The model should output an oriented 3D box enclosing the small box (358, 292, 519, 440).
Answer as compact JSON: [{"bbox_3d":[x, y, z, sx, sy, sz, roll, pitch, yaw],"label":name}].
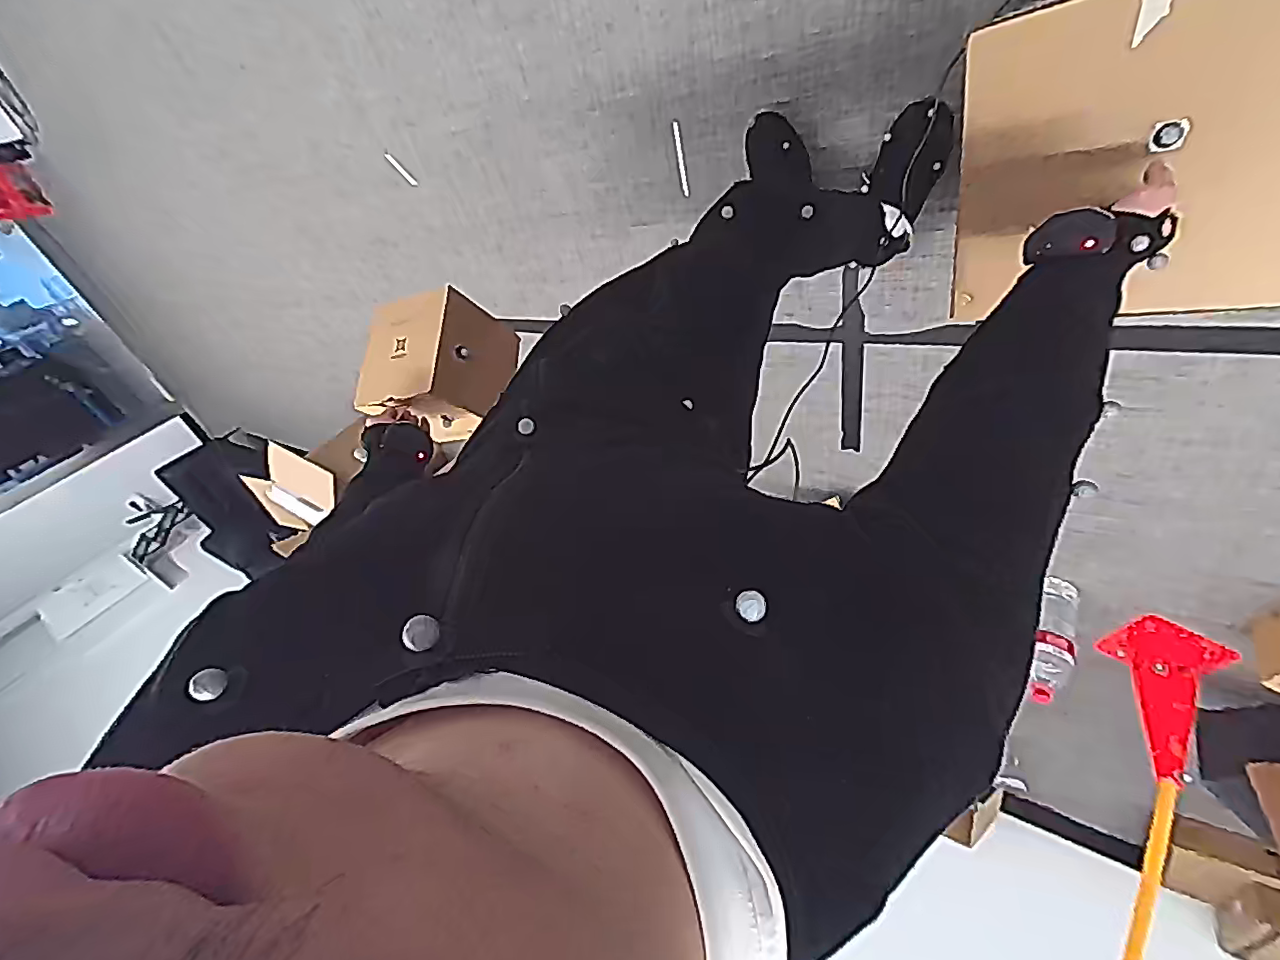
[{"bbox_3d":[-0.315,-0.169,0.874,0.168,0.179,0.176,-3,164,26],"label":"small box"}]
